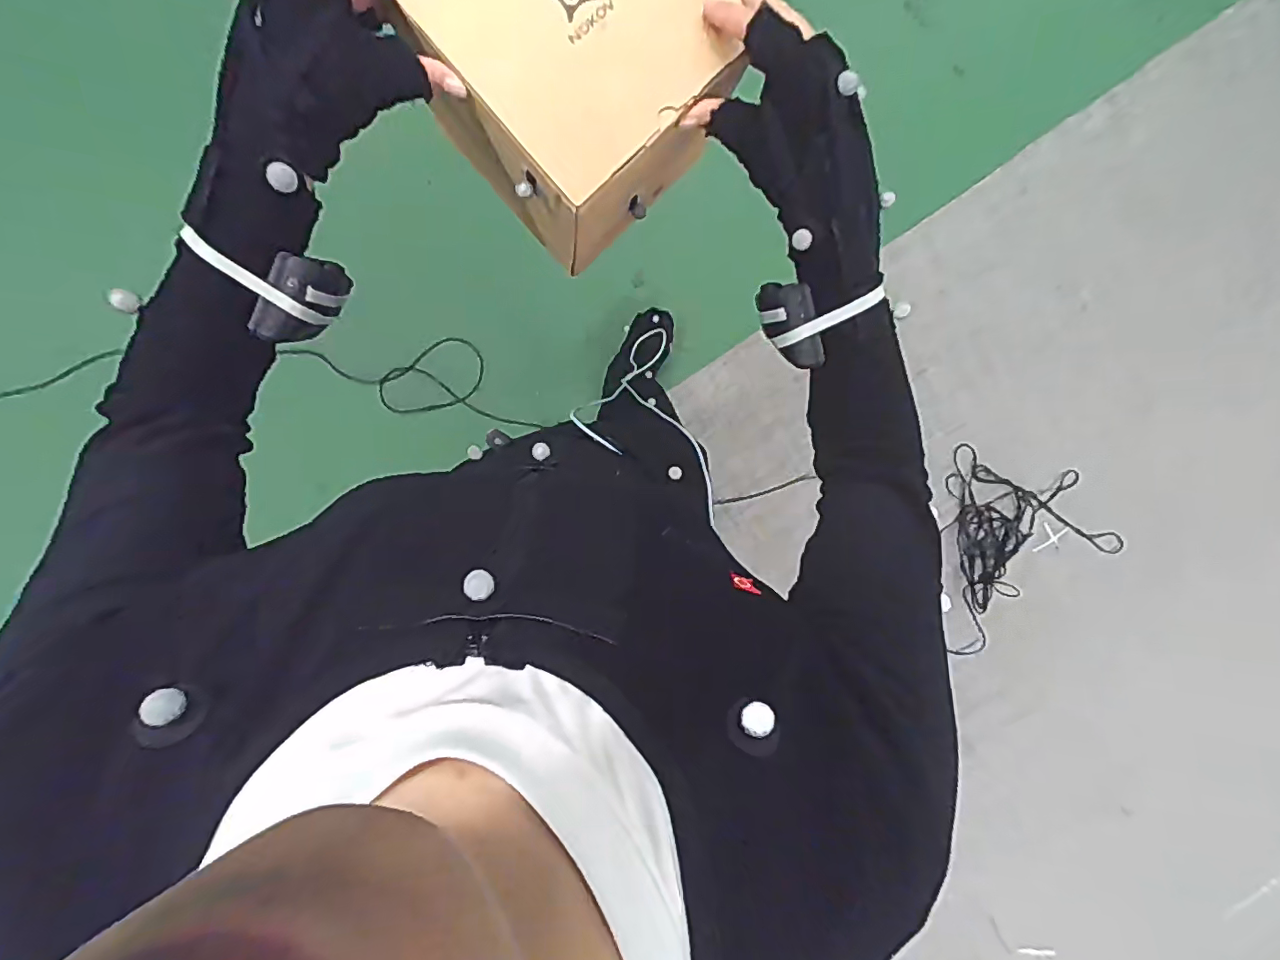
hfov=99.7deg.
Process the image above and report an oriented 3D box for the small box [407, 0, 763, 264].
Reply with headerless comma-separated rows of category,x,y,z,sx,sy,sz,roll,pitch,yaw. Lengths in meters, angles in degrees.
small box,-0.046,-0.301,0.415,0.168,0.176,0.179,-44,102,-2
